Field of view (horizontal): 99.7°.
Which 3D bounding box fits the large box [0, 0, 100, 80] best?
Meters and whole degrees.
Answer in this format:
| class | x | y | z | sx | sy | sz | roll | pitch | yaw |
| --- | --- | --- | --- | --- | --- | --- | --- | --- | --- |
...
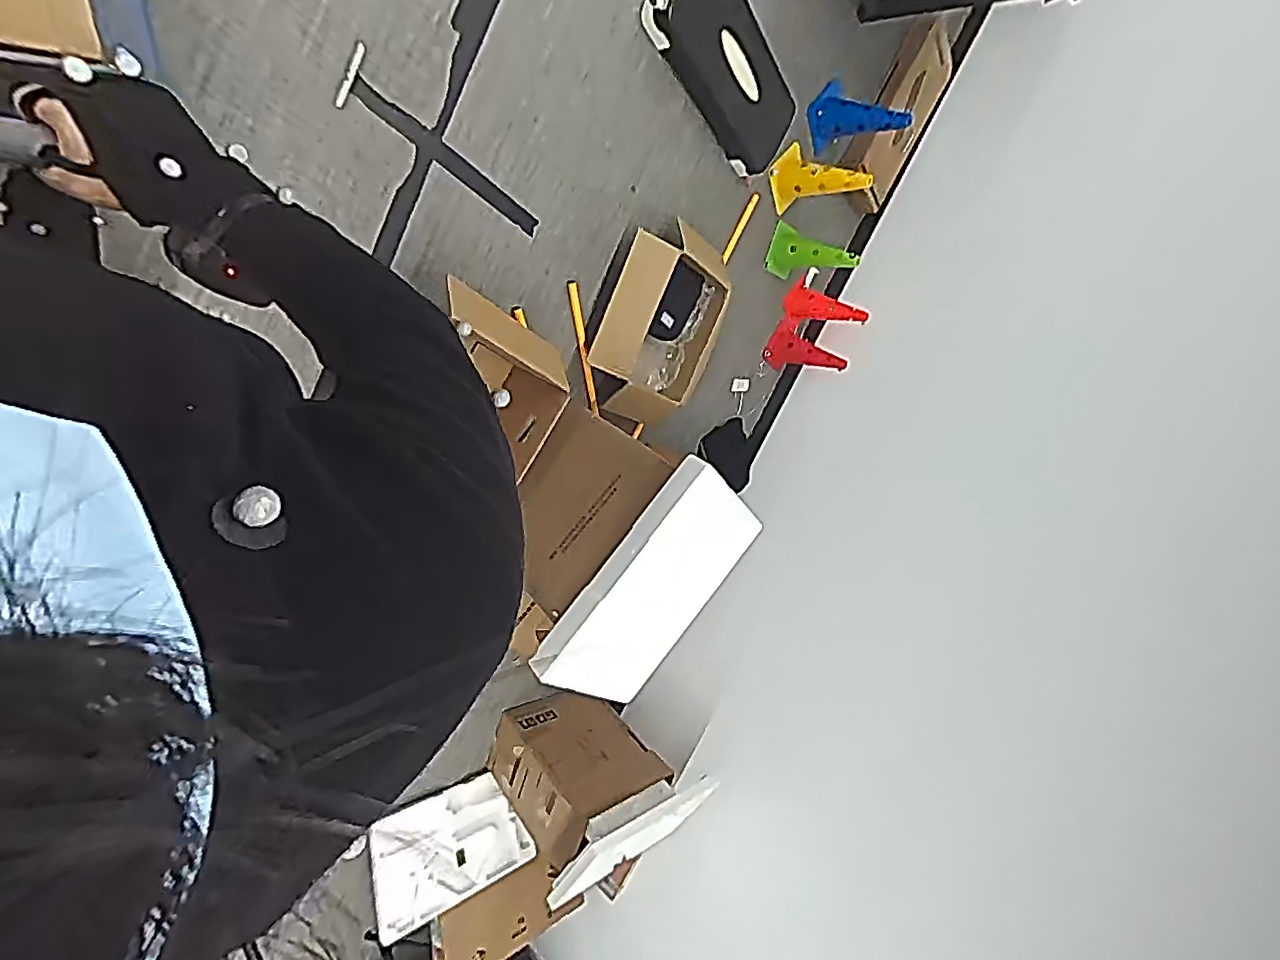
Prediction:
| class | x | y | z | sx | sy | sz | roll | pitch | yaw |
| --- | --- | --- | --- | --- | --- | --- | --- | --- | --- |
| large box | -0.856 | -0.627 | 0.526 | 0.408 | 0.320 | 0.320 | -18 | 127 | -40 |
